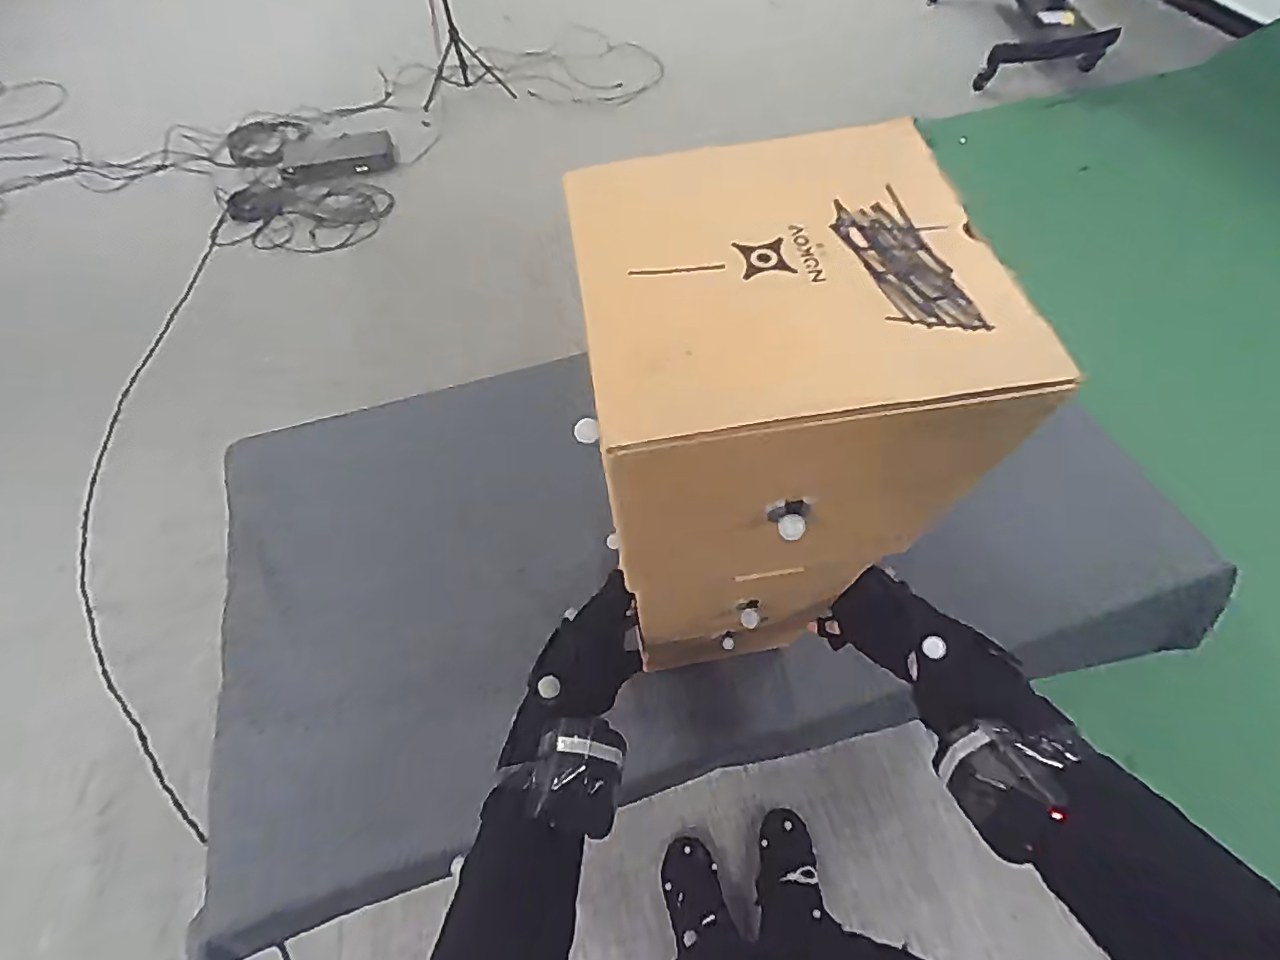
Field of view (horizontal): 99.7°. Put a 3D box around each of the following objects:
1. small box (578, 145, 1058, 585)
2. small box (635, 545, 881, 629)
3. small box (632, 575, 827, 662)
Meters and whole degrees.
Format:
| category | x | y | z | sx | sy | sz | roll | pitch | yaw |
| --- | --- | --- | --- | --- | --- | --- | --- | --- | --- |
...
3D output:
| category | x | y | z | sx | sy | sz | roll | pitch | yaw |
| --- | --- | --- | --- | --- | --- | --- | --- | --- | --- |
| small box | 0.067 | -0.051 | 0.308 | 0.179 | 0.176 | 0.168 | -8 | 61 | -1 |
| small box | 0.070 | 0.019 | 0.458 | 0.168 | 0.176 | 0.179 | -9 | 62 | -3 |
| small box | 0.079 | 0.095 | 0.604 | 0.179 | 0.176 | 0.168 | -9 | 62 | -5 |
